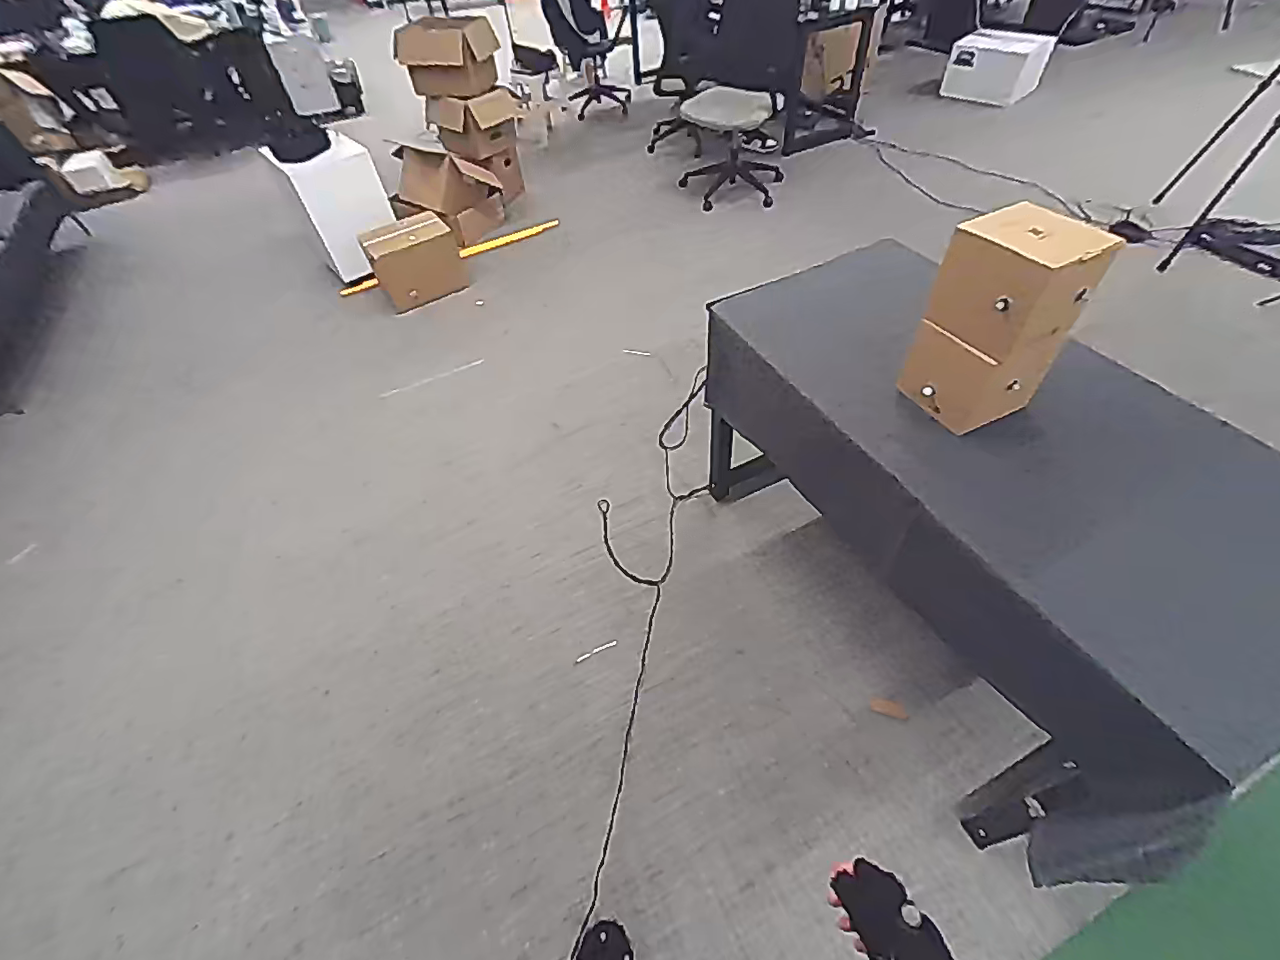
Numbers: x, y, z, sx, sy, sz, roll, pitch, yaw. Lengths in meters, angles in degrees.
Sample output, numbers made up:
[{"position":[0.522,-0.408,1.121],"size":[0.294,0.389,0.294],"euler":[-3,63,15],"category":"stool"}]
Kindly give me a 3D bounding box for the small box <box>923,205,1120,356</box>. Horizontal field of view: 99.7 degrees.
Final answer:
[{"position":[0.620,-0.327,0.904],"size":[0.168,0.176,0.179],"euler":[-23,50,-16],"category":"small box"}]

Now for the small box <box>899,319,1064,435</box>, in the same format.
[{"position":[0.630,-0.216,1.024],"size":[0.179,0.176,0.168],"euler":[-22,50,-13],"category":"small box"}]
